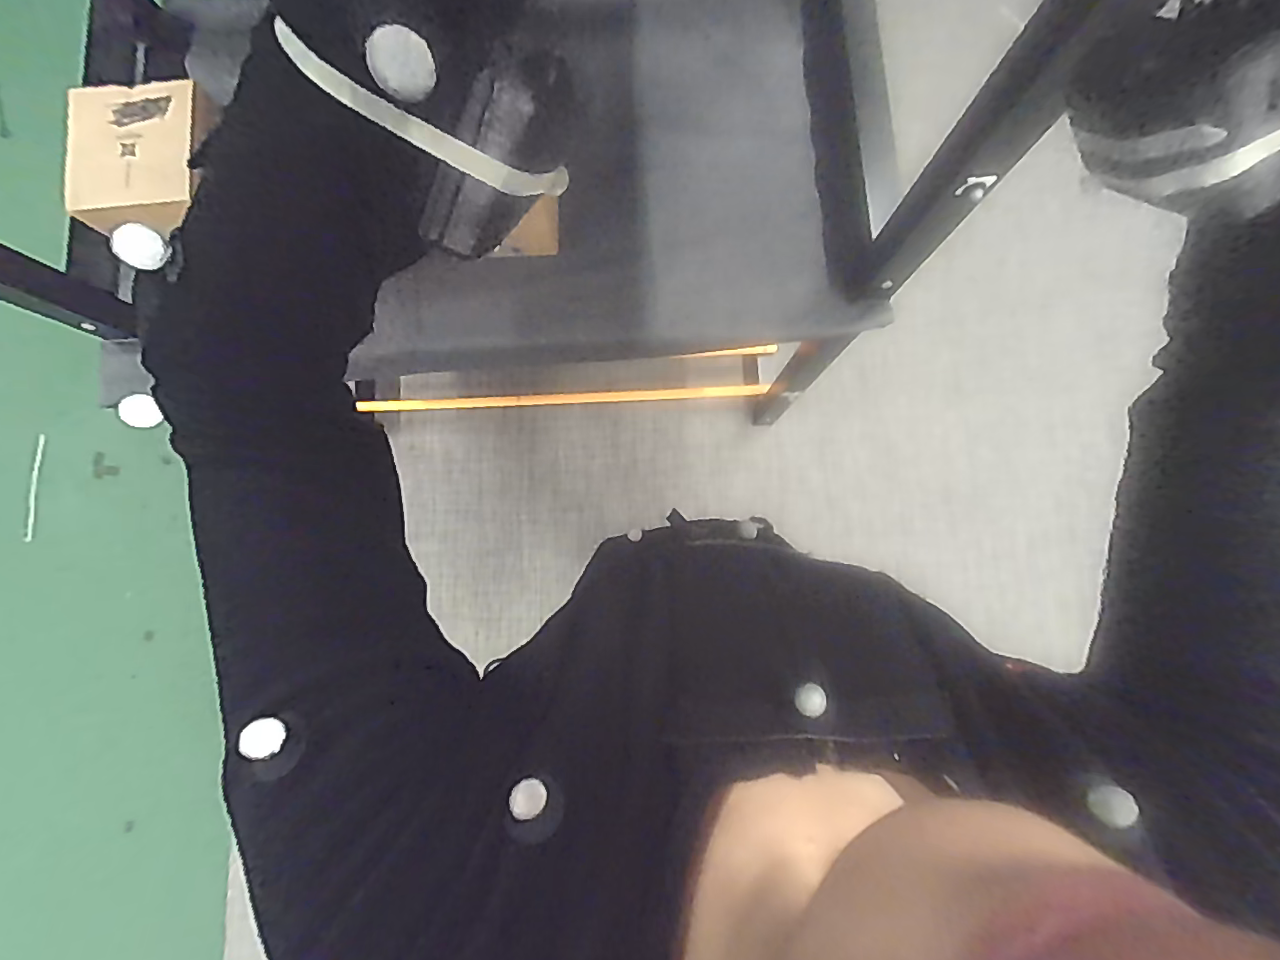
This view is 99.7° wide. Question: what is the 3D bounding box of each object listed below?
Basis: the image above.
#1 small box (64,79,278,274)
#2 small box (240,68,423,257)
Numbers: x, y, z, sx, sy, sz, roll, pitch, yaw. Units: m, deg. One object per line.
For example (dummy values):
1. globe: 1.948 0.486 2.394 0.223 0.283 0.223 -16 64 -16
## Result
1. small box: -0.651 -0.423 0.774 0.168 0.176 0.179 -5 82 1
2. small box: -0.425 -0.437 0.772 0.168 0.176 0.179 -2 82 1
